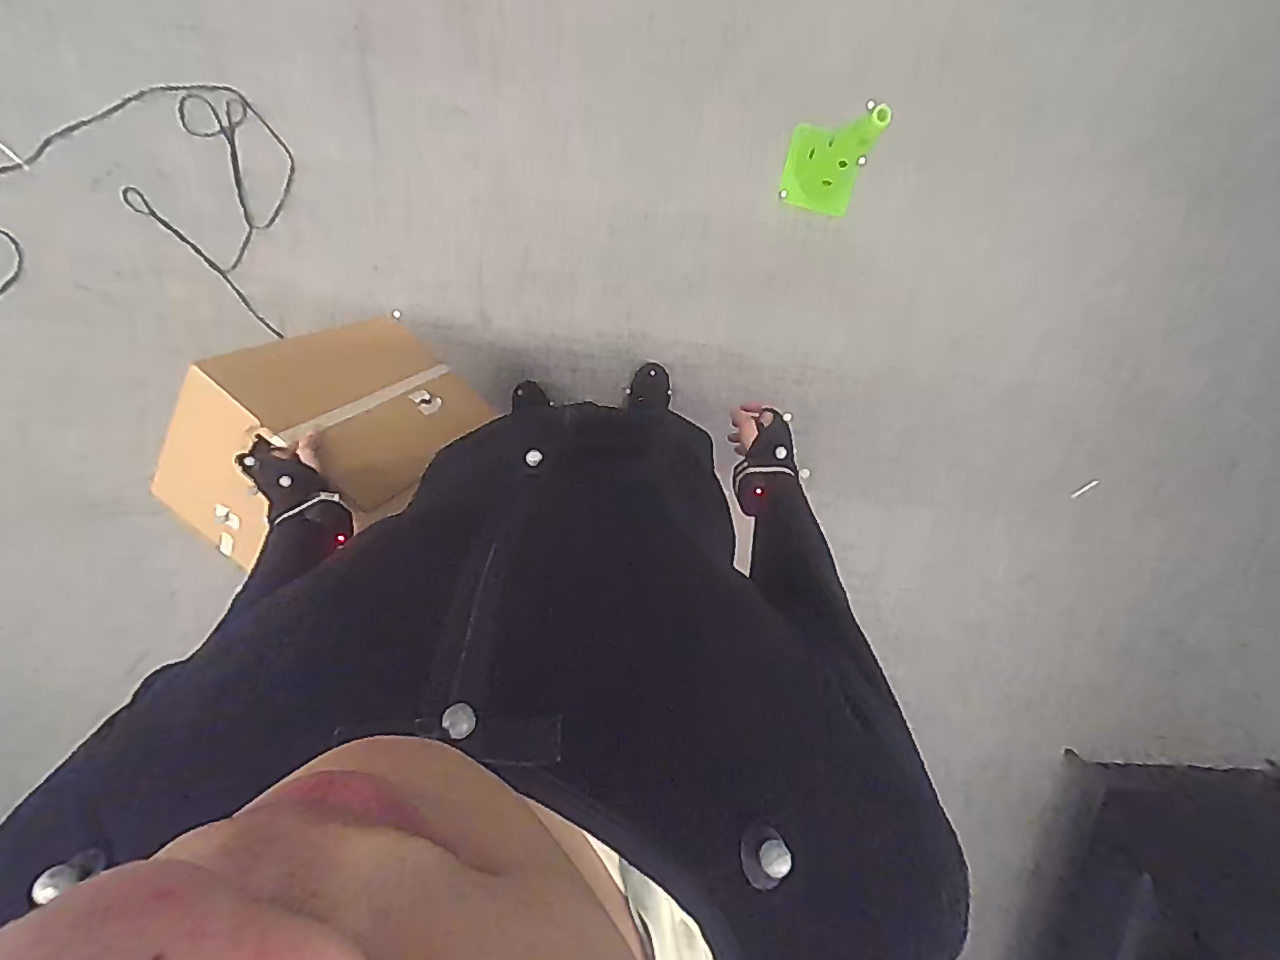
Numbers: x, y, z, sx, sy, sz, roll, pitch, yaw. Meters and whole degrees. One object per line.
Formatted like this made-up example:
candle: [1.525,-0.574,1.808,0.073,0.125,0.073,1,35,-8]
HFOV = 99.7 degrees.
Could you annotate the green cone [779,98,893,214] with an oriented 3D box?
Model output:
green cone: [0.503,-0.810,1.306,0.200,0.368,0.202,11,101,-6]

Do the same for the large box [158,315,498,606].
large box: [-0.545,-0.053,1.001,0.320,0.408,0.320,44,119,-7]
